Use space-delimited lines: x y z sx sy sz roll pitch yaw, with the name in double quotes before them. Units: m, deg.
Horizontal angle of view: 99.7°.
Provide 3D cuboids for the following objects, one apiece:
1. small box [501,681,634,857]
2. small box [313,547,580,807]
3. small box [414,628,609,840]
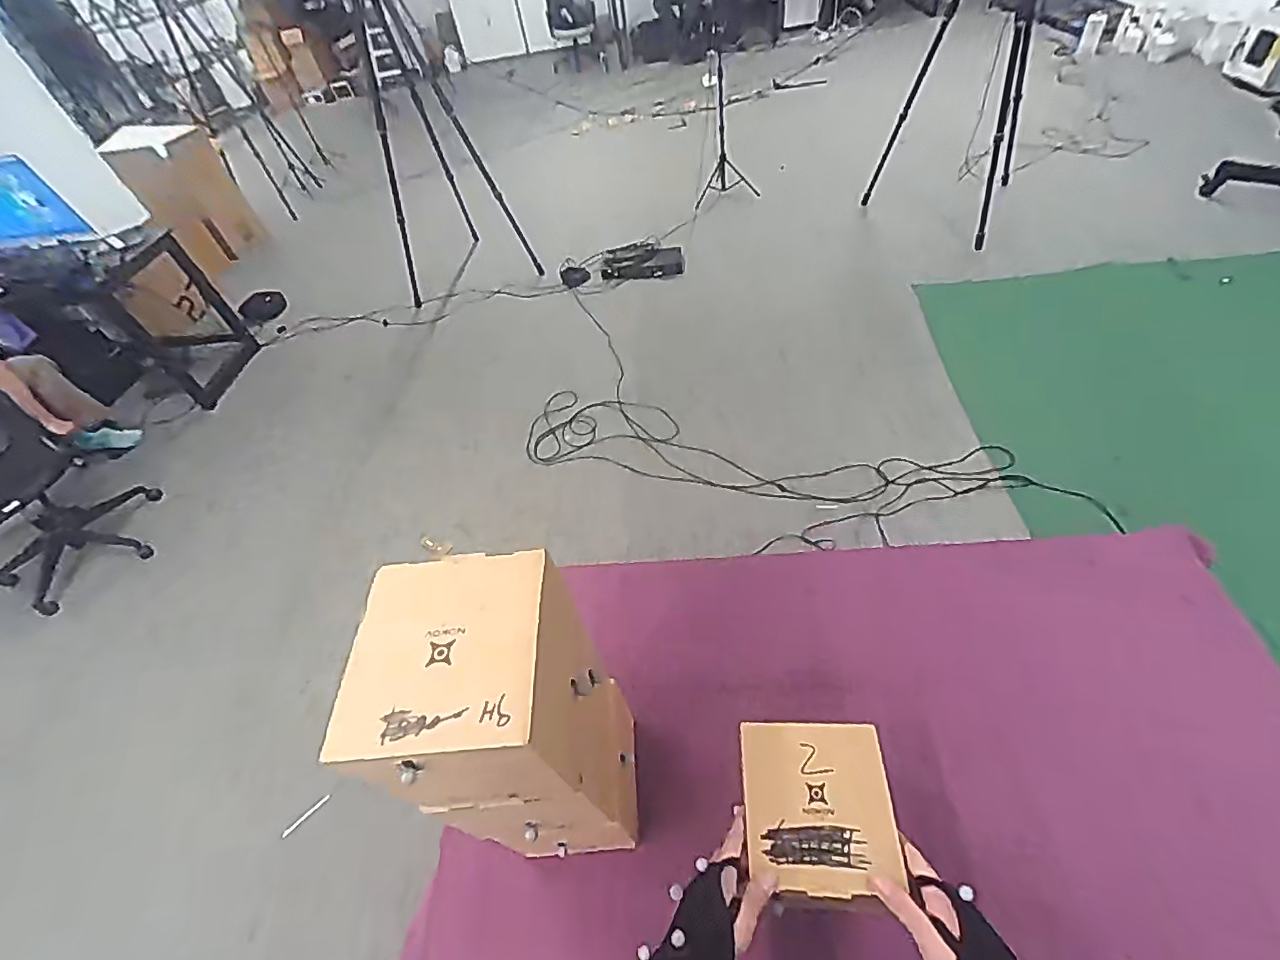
"small box" -0.102 0.404 0.753 0.168 0.176 0.179 -8 49 4
"small box" -0.156 0.188 0.511 0.168 0.176 0.179 -7 48 5
"small box" -0.133 0.297 0.632 0.168 0.176 0.179 -9 48 4
